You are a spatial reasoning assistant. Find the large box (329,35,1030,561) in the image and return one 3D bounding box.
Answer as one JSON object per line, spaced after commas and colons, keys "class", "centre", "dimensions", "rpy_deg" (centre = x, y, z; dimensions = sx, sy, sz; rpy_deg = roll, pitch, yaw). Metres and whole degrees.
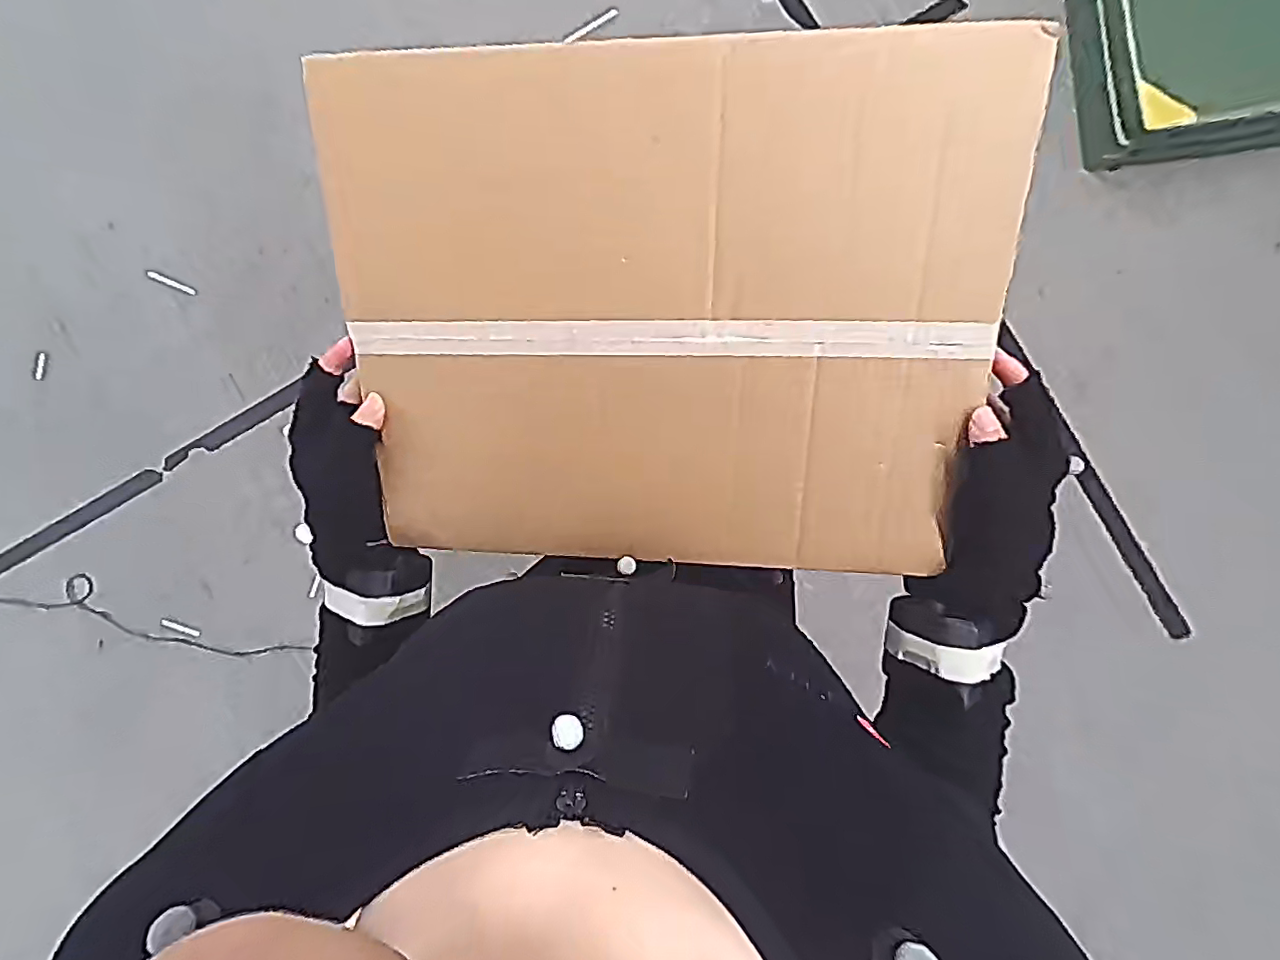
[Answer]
{"class": "large box", "centre": [0.025, -0.139, 0.490], "dimensions": [0.408, 0.320, 0.320], "rpy_deg": [2, 110, 6]}
